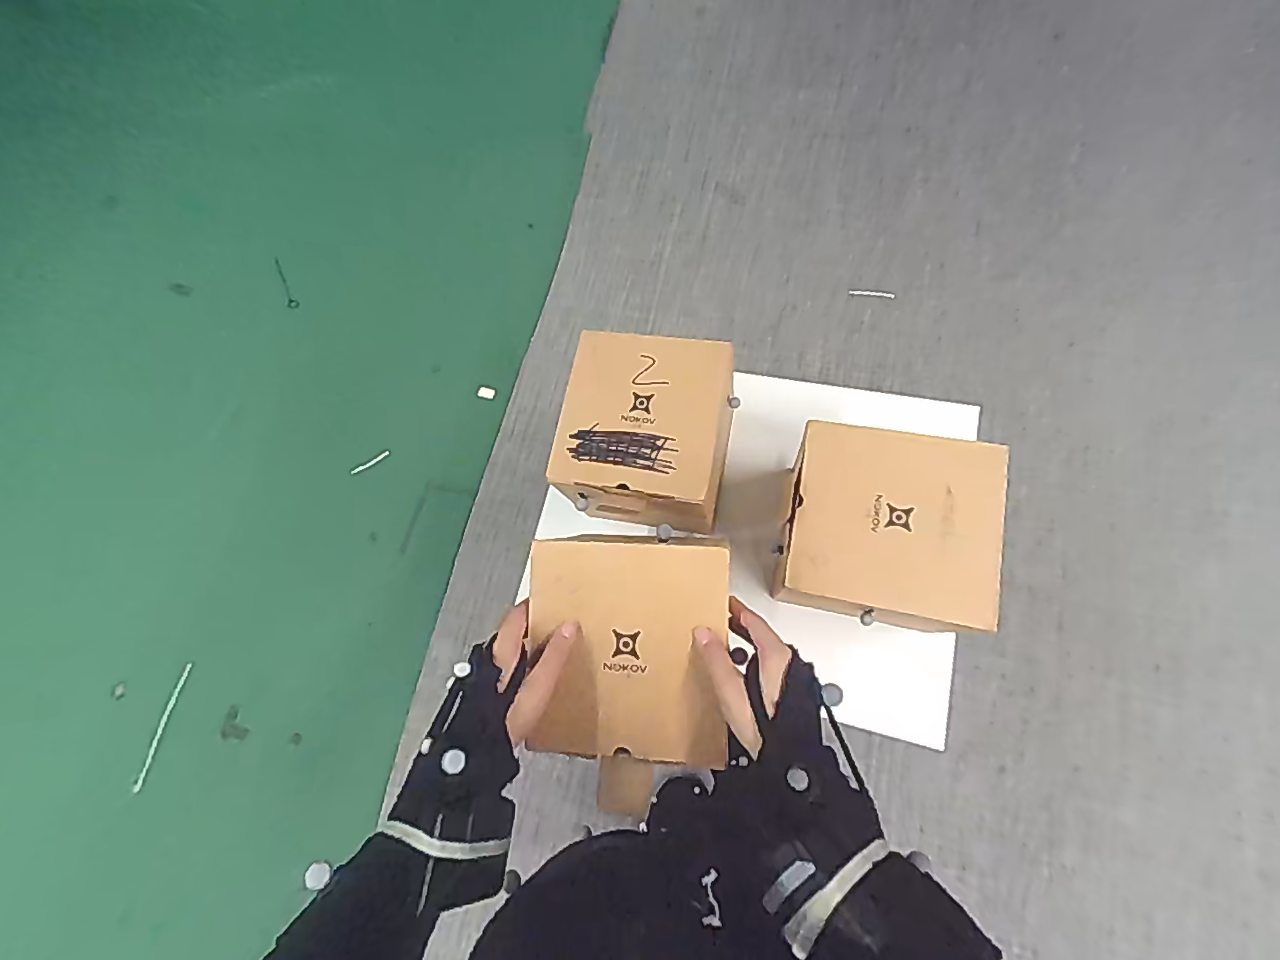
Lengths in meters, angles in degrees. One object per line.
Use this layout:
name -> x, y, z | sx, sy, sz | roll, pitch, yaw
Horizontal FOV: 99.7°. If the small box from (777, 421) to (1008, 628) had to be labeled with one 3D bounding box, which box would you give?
small box -> 0.241, 0.054, 0.556 | 0.179, 0.176, 0.168 | 9, 77, 13
